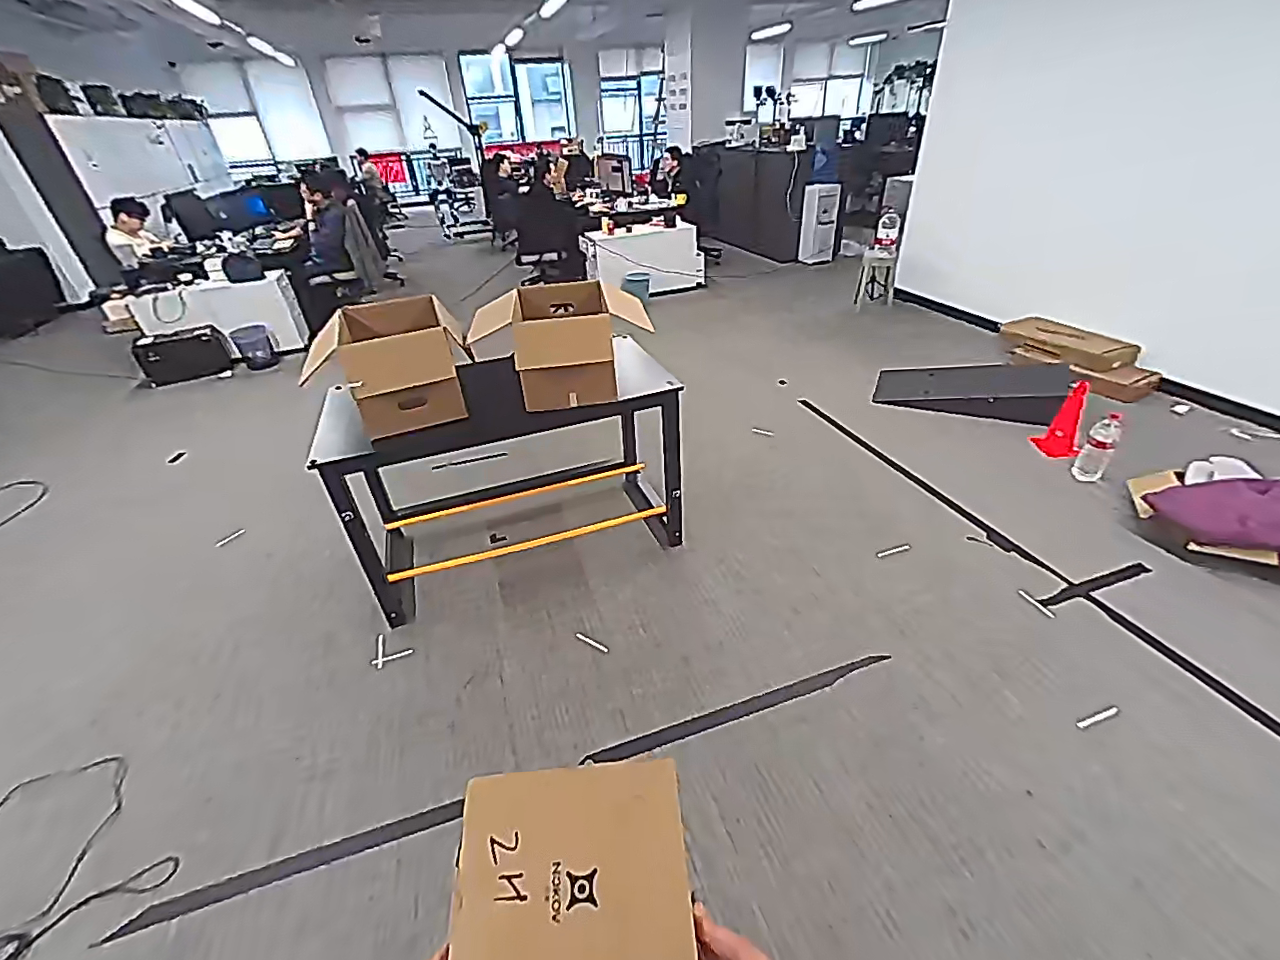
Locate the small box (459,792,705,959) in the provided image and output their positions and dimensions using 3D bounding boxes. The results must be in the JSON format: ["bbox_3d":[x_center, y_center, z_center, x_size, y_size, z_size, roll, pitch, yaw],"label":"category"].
[{"bbox_3d":[-0.040,0.379,0.452,0.179,0.176,0.168,-5,46,-1],"label":"small box"}]
